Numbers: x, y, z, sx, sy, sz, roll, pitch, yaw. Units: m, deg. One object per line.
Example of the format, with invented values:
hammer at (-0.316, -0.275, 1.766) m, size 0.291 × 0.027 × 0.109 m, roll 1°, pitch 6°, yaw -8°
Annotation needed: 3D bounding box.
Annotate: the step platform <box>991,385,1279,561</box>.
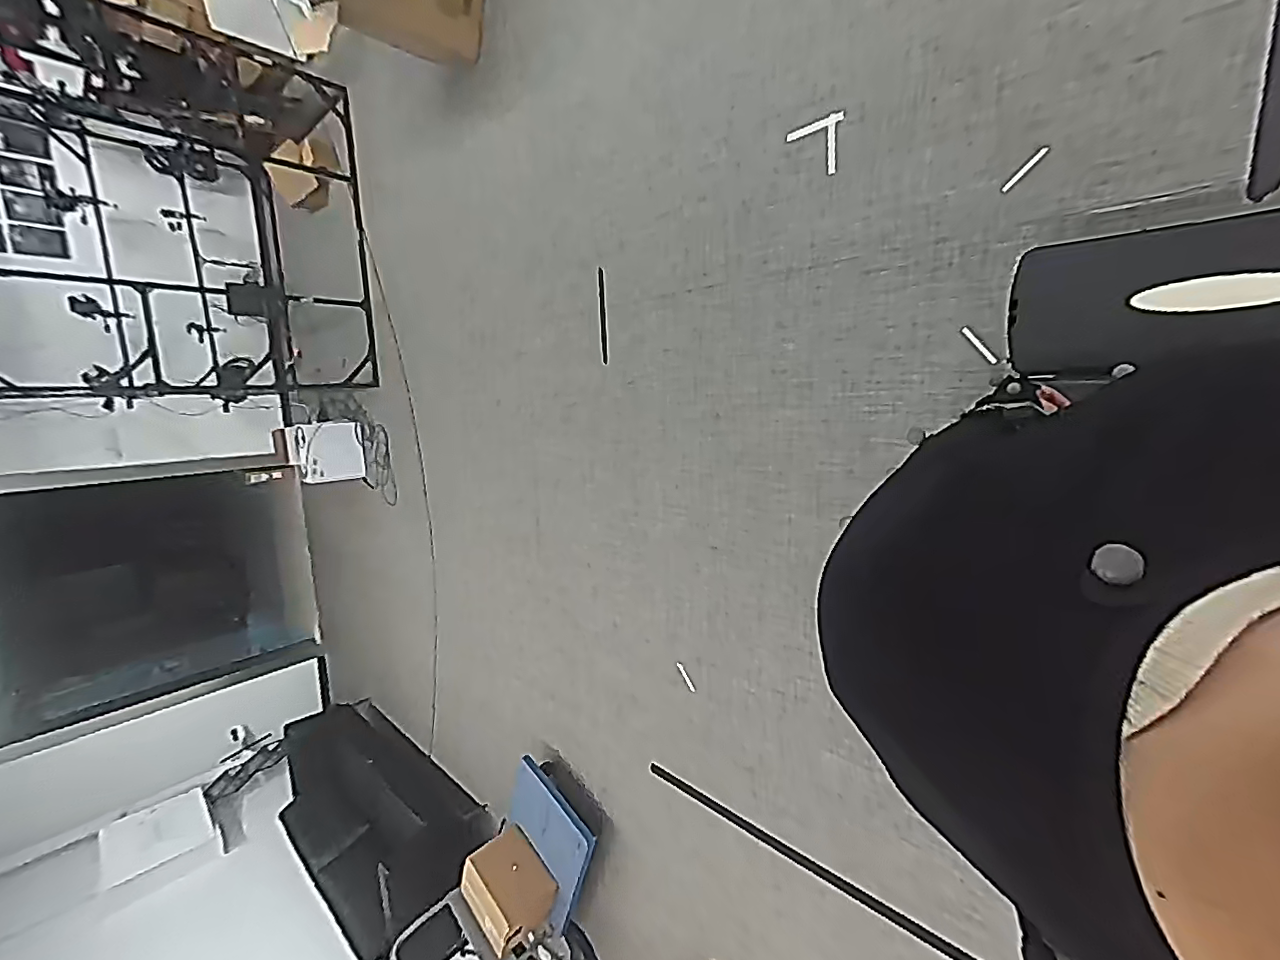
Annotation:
step platform at (1.089, -0.022, 1.045) m, size 0.684 × 0.204 × 0.286 m, roll 14°, pitch 106°, yaw 44°
